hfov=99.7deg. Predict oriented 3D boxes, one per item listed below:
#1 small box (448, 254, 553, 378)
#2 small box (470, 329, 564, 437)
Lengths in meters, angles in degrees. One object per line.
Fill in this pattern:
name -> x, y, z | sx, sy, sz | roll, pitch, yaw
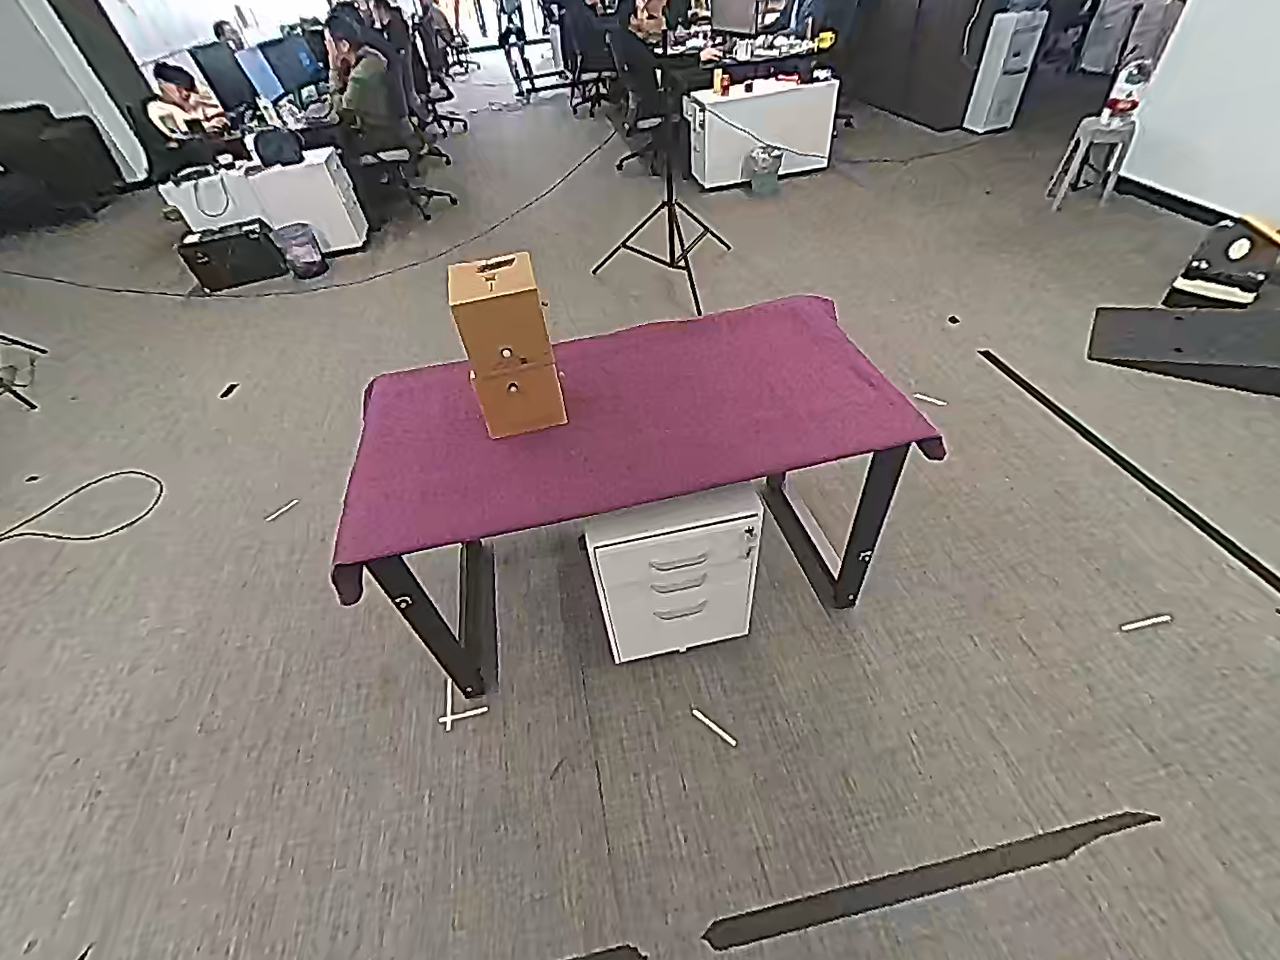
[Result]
small box -> -0.283, -0.336, 1.110 | 0.168, 0.176, 0.179 | -14, 47, -6
small box -> -0.274, -0.222, 1.228 | 0.179, 0.176, 0.168 | -13, 46, -5
